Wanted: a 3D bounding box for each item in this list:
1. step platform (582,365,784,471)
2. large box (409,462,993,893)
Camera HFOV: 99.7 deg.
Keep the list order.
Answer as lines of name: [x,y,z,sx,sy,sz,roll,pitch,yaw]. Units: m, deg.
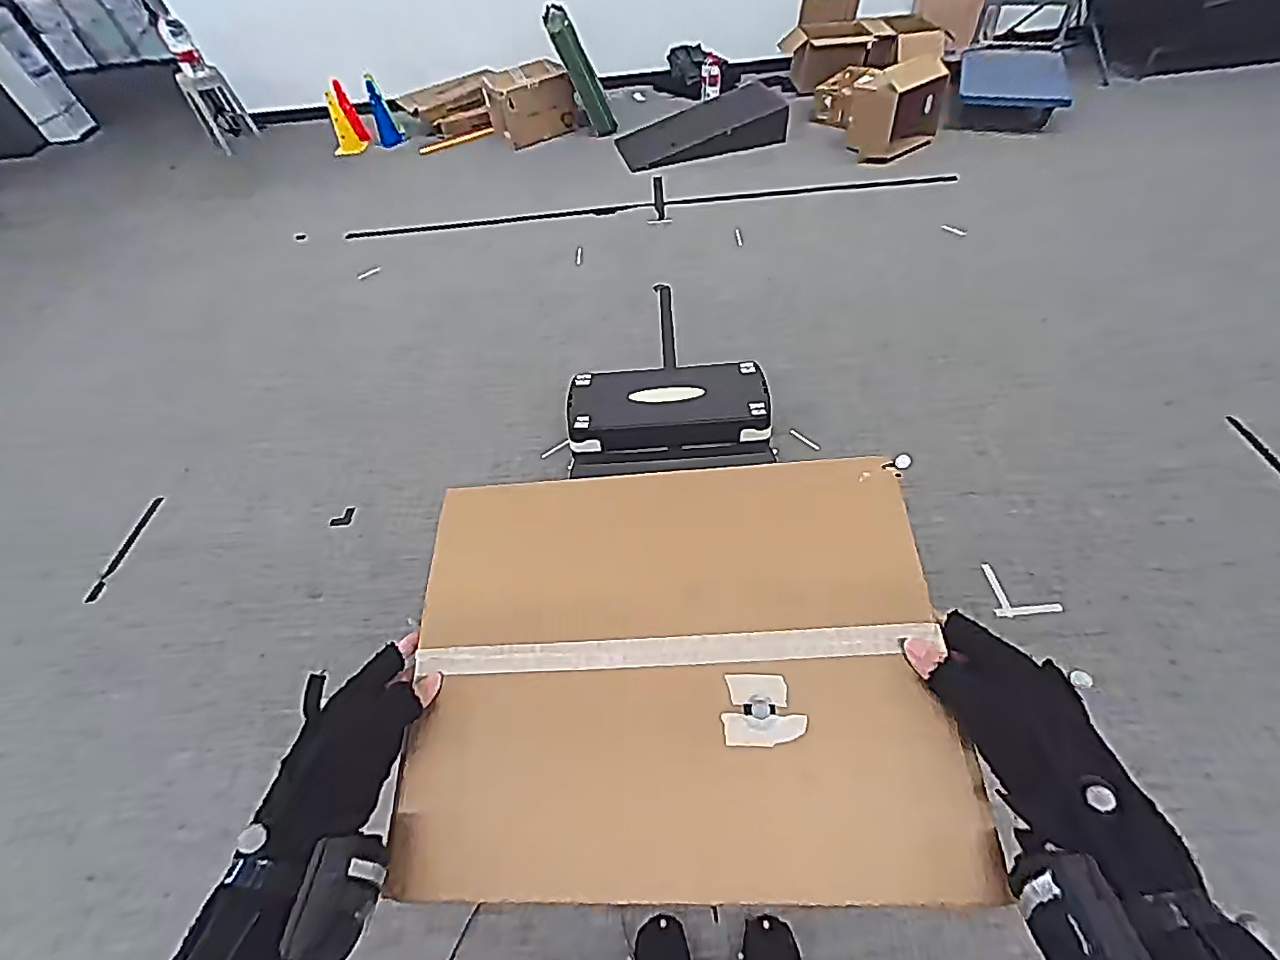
step platform: [0.143,-0.219,1.864,0.684,0.204,0.286,-4,52,2]
large box: [0.044,0.205,0.562,0.408,0.320,0.320,-5,63,6]
